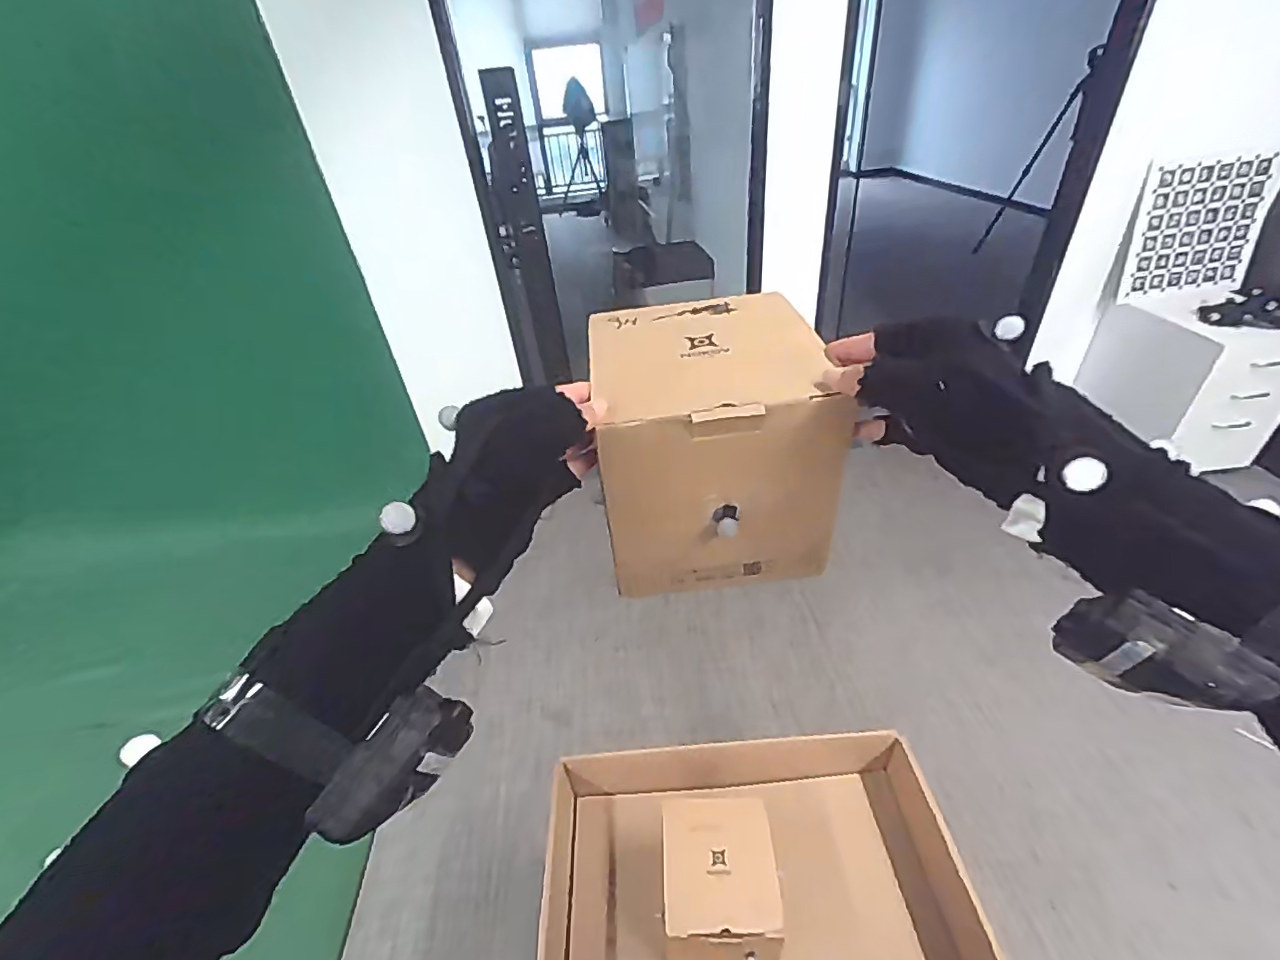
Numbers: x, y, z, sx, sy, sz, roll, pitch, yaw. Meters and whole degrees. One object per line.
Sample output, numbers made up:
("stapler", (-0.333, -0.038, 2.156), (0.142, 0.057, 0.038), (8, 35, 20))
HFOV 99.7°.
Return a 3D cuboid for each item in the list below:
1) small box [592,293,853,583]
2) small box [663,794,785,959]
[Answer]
("small box", (0.055, -0.031, 0.445), (0.168, 0.176, 0.179), (-7, 39, 0))
("small box", (0.122, 0.622, 0.844), (0.168, 0.176, 0.179), (-2, 35, 2))
